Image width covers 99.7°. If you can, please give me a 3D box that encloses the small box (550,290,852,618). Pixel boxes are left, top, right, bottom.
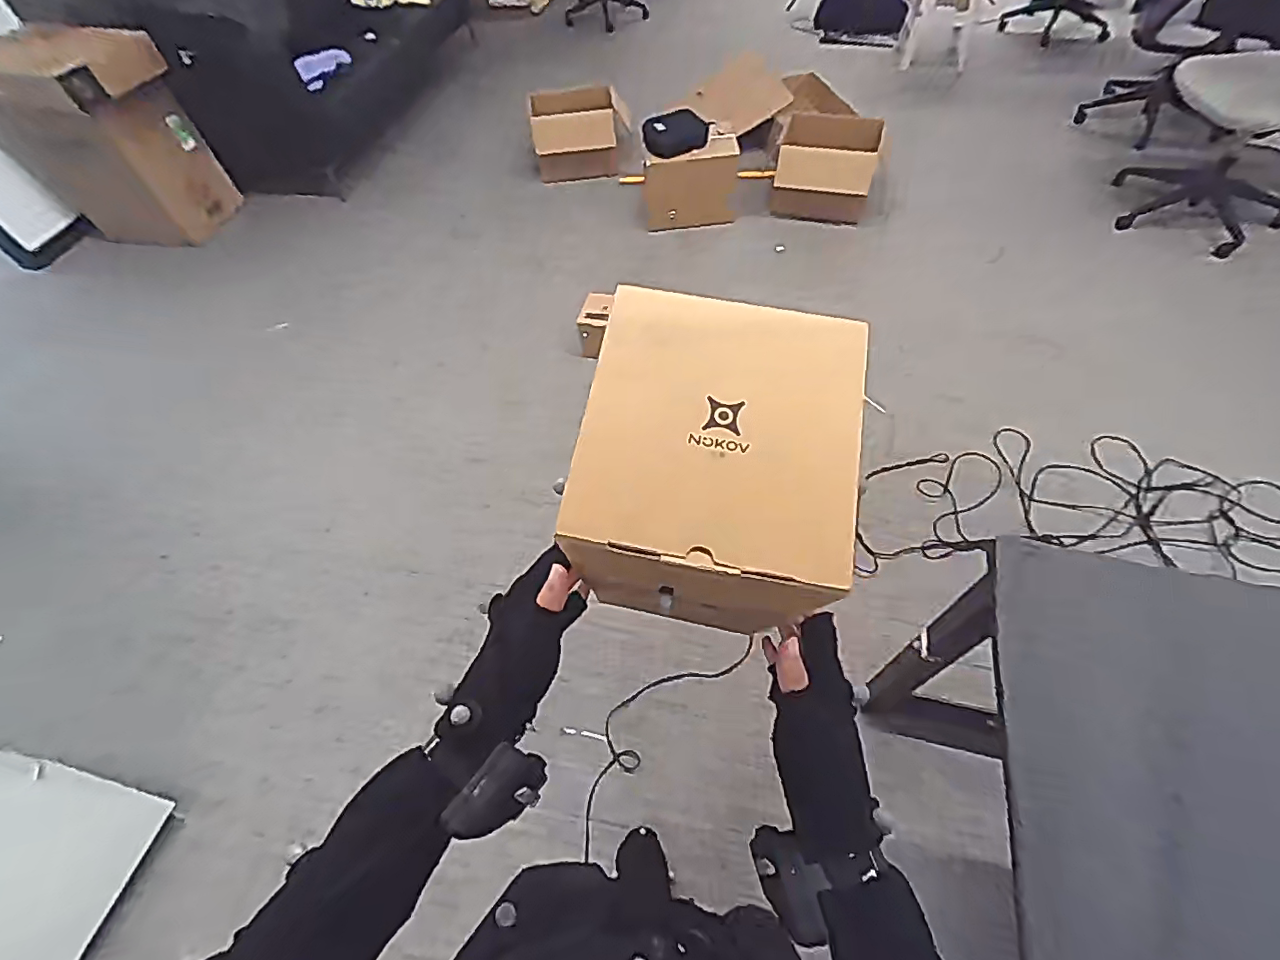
[{"bbox_3d":[0.042,-0.006,0.403,0.168,0.176,0.179,10,71,4],"label":"small box"}]

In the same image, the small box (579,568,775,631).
[{"bbox_3d":[0.048,0.051,0.554,0.179,0.176,0.168,12,70,4],"label":"small box"}]
